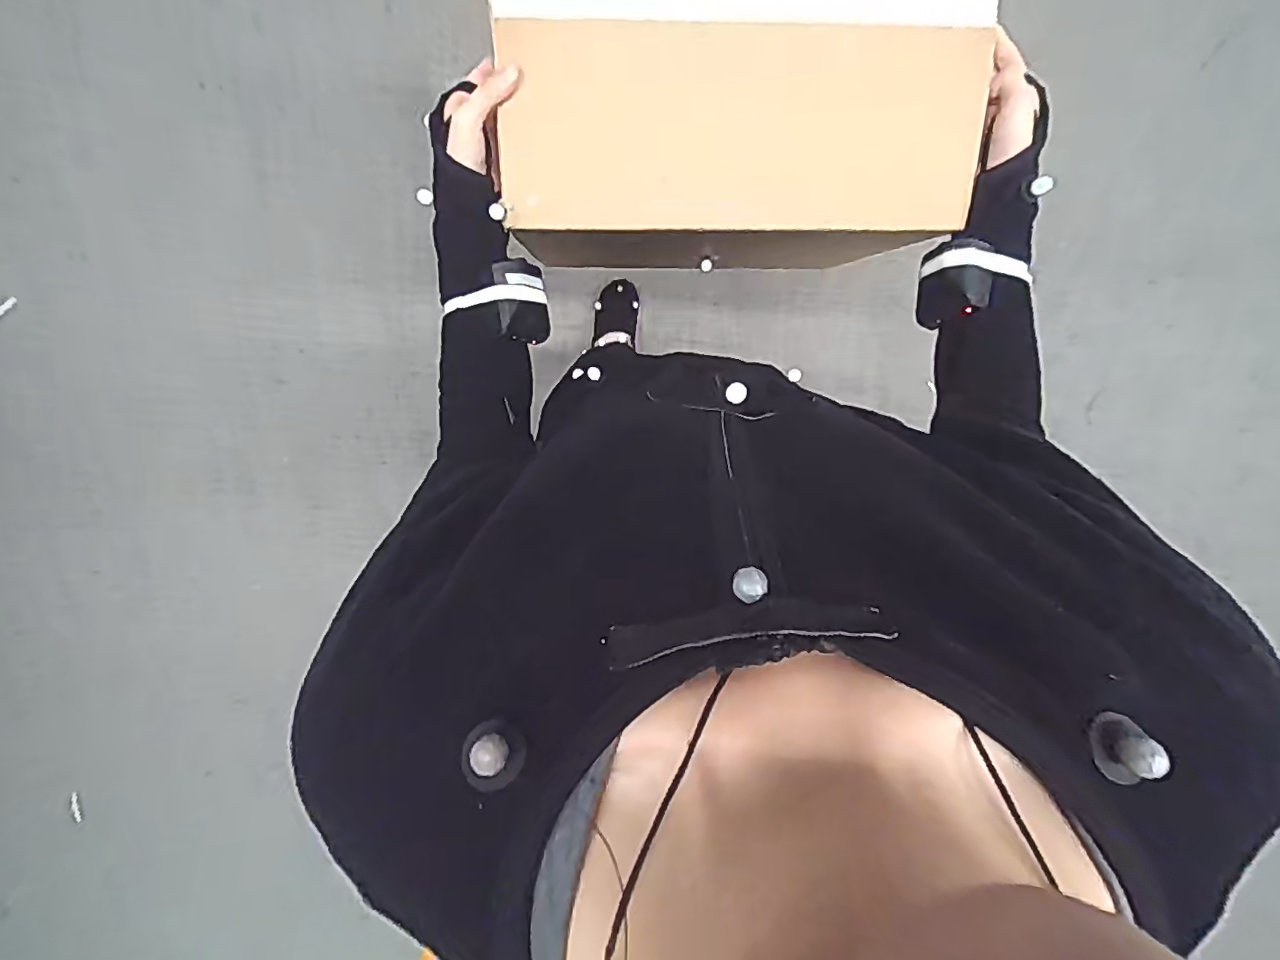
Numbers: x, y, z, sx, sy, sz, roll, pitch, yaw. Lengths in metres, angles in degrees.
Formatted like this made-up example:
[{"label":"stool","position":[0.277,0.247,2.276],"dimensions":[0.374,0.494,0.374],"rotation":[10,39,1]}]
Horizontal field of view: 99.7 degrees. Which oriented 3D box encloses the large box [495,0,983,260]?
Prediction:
[{"label":"large box","position":[0.078,-0.417,0.581],"dimensions":[0.408,0.320,0.320],"rotation":[-1,105,-2]}]
